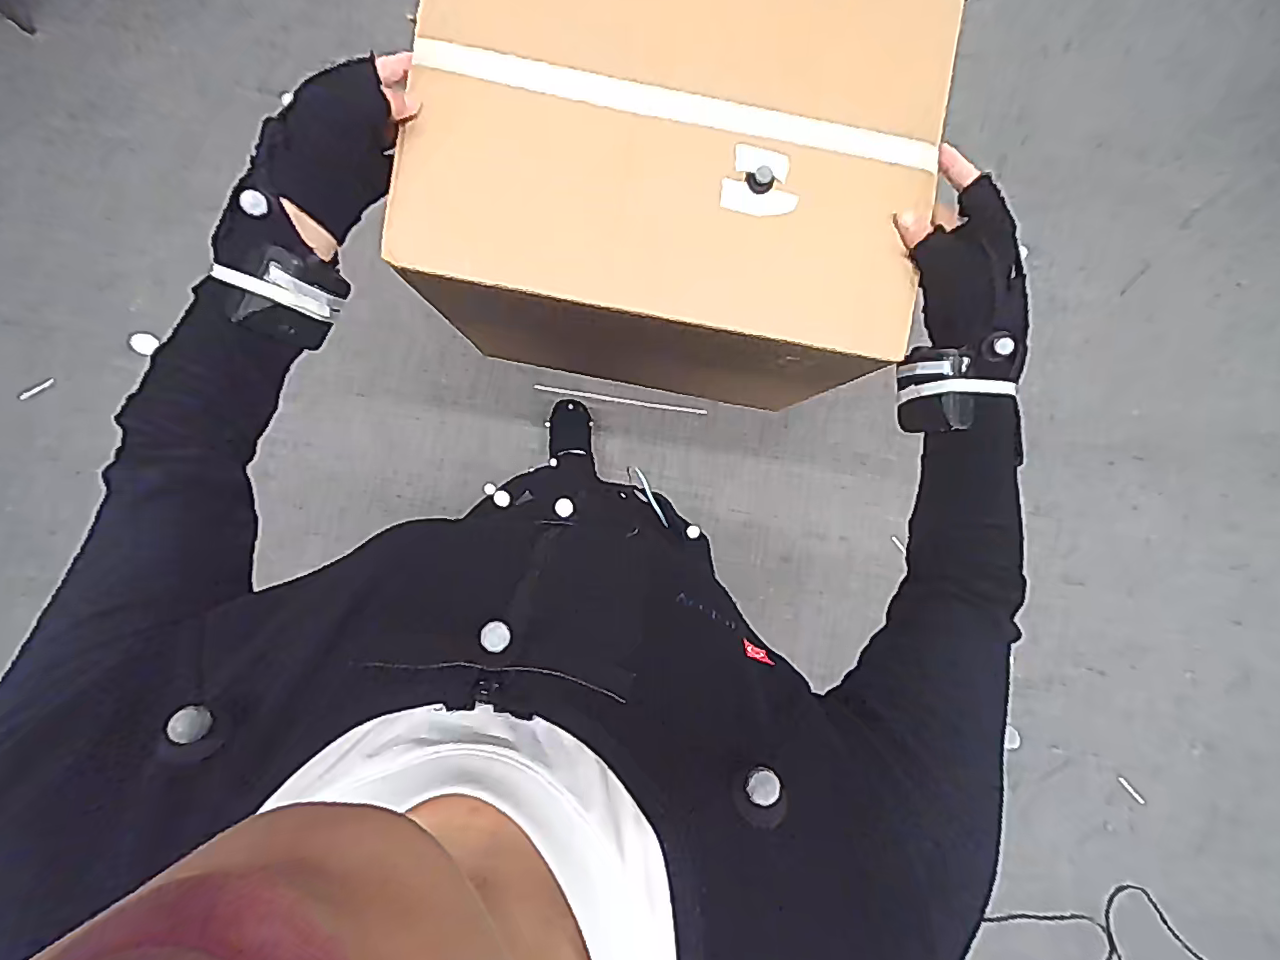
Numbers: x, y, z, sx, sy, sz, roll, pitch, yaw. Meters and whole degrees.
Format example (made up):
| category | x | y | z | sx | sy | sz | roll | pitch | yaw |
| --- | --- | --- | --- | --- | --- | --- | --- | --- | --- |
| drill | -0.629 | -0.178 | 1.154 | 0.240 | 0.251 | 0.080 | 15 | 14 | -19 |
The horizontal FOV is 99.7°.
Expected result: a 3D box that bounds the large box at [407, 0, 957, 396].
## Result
| category | x | y | z | sx | sy | sz | roll | pitch | yaw |
| --- | --- | --- | --- | --- | --- | --- | --- | --- | --- |
| large box | 0.029 | -0.290 | 0.570 | 0.408 | 0.320 | 0.320 | 10 | 91 | -3 |
